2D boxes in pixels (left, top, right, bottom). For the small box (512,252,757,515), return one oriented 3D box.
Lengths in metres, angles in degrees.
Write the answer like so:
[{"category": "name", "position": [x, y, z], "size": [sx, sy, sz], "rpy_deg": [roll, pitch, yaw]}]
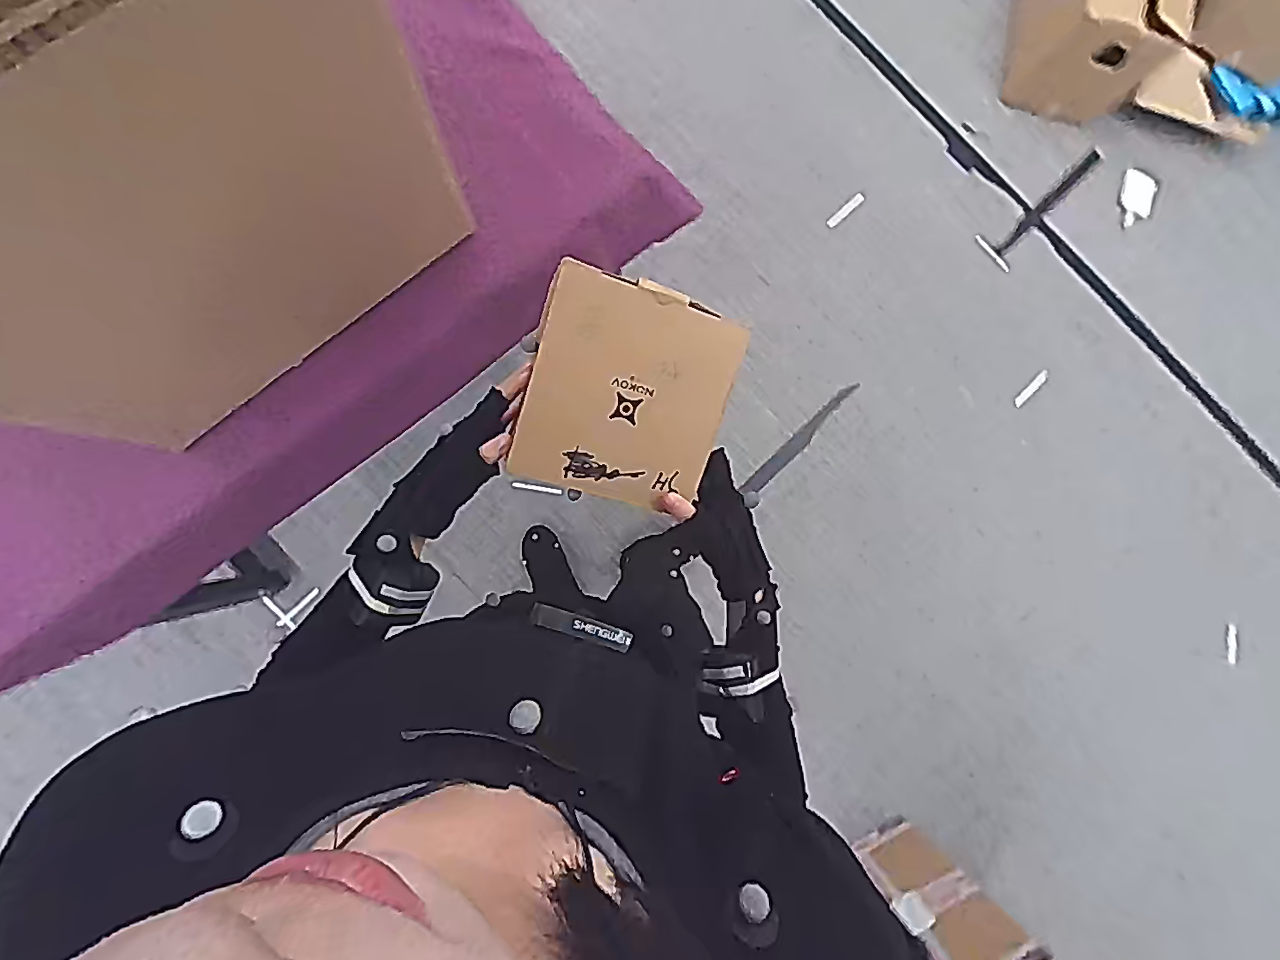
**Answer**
[{"category": "small box", "position": [-0.020, -0.089, 0.516], "size": [0.168, 0.176, 0.179], "rpy_deg": [16, 100, -15]}]
